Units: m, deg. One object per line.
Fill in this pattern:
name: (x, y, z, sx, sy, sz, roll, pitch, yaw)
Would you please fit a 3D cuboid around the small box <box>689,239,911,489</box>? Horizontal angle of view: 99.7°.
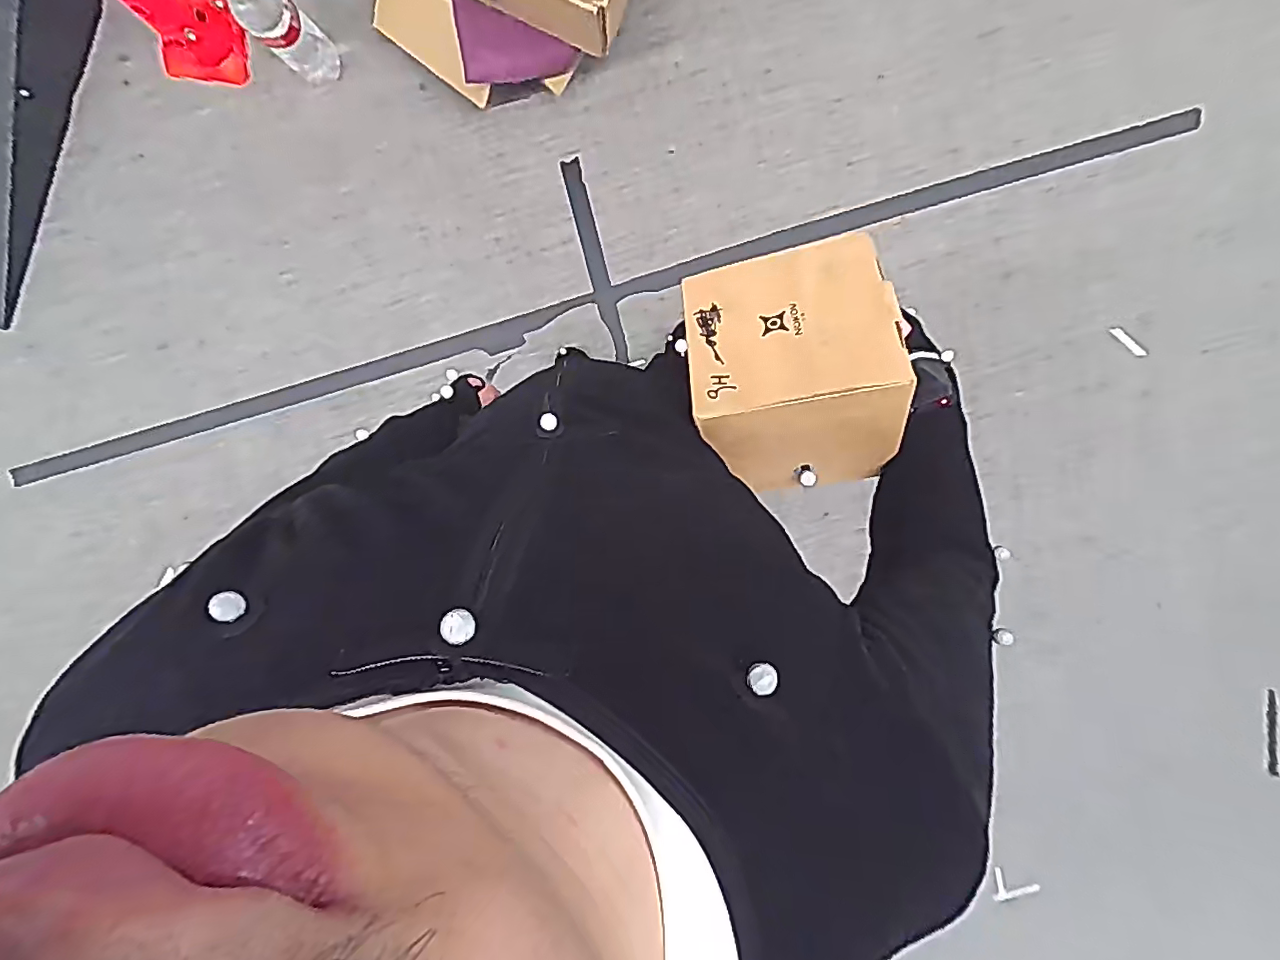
small box: (0.154, -0.105, 0.553, 0.179, 0.176, 0.168, -9, 62, 14)
